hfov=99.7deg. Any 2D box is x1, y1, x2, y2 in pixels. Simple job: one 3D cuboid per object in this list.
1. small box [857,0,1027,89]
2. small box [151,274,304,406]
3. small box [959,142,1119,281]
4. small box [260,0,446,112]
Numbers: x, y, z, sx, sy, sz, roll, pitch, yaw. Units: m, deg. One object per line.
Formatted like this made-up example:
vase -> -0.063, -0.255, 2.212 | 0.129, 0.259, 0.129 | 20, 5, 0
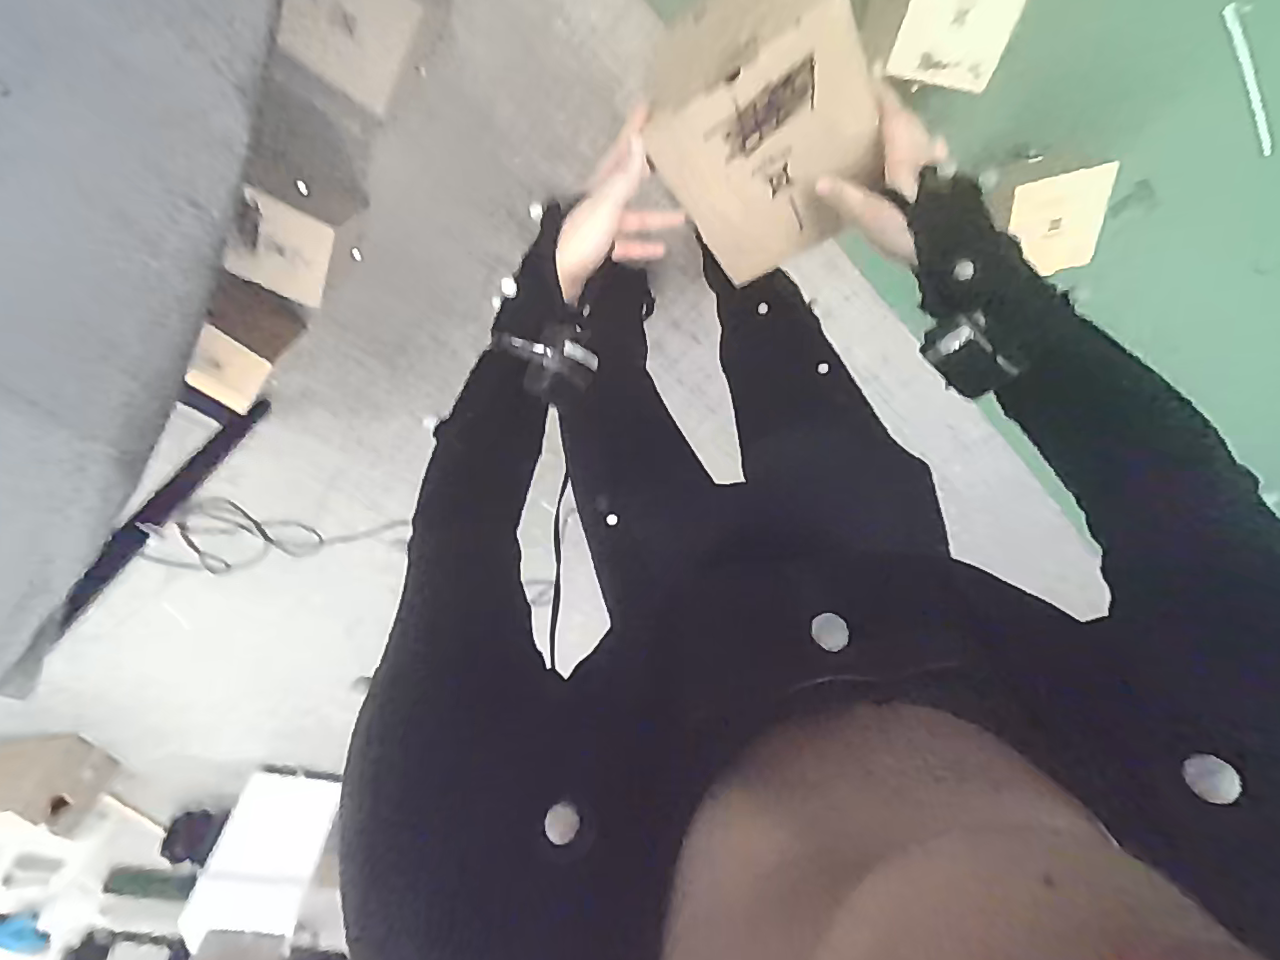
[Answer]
small box -> 0.458, -0.722, 0.822 | 0.168, 0.176, 0.179 | 7, 129, -7
small box -> -0.853, -0.297, 1.136 | 0.168, 0.176, 0.179 | -37, 122, 26
small box -> 0.727, -0.505, 1.014 | 0.168, 0.176, 0.179 | -12, 129, 7
small box -> -0.415, -0.699, 0.807 | 0.179, 0.176, 0.168 | 29, 123, -24
